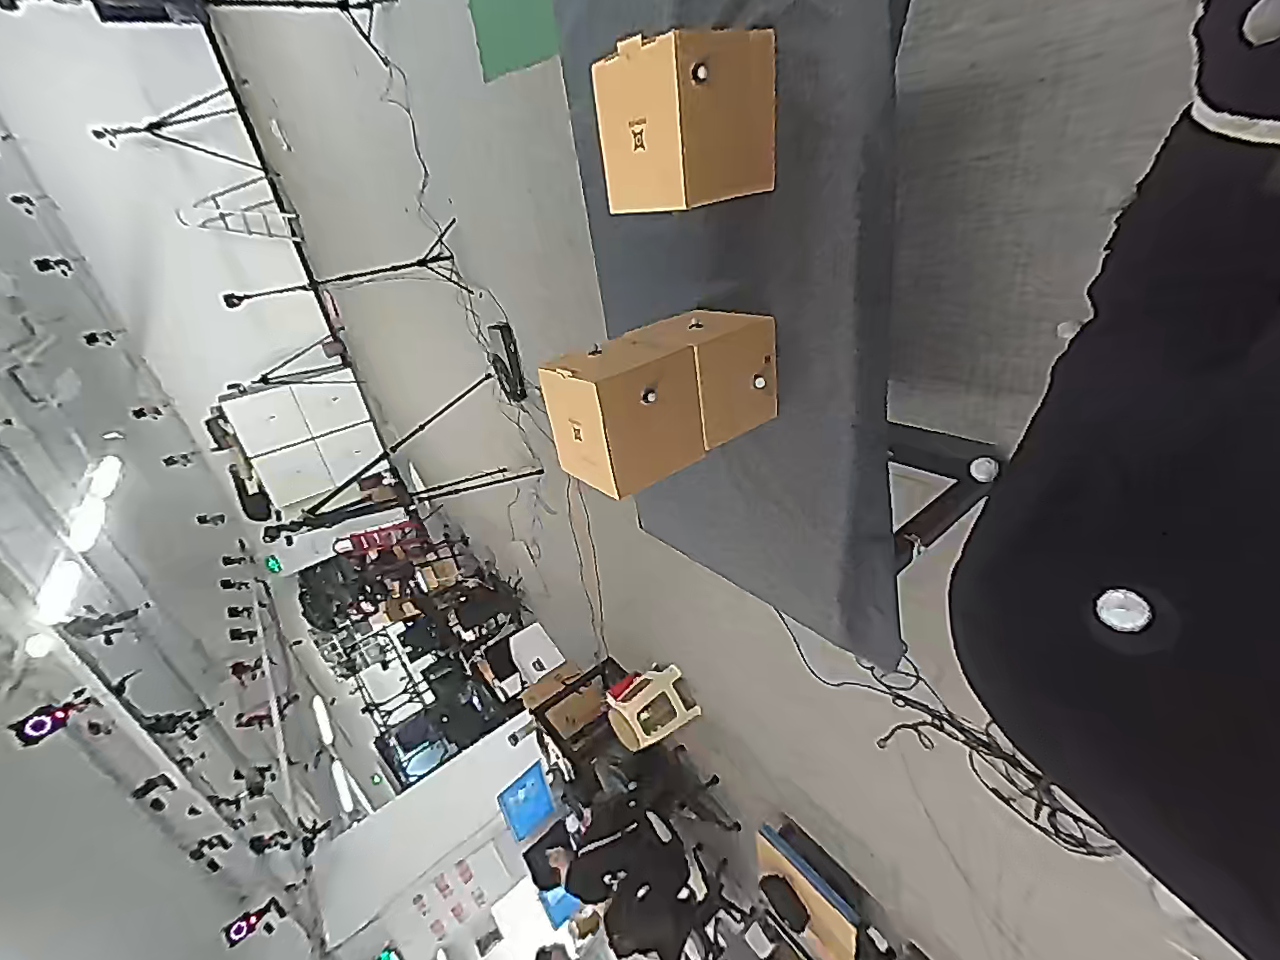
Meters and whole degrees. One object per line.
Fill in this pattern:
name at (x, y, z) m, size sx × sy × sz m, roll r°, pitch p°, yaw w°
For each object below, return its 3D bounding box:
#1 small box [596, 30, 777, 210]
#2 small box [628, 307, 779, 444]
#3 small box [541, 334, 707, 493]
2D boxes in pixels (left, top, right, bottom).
small box at (0.067, -0.471, 0.720) m, size 0.168 × 0.176 × 0.179 m, roll 28°, pitch 135°, yaw 46°
small box at (0.106, -0.180, 0.886) m, size 0.179 × 0.176 × 0.168 m, roll 25°, pitch 134°, yaw 47°
small box at (-0.020, -0.111, 0.809) m, size 0.168 × 0.176 × 0.179 m, roll 26°, pitch 135°, yaw 49°
